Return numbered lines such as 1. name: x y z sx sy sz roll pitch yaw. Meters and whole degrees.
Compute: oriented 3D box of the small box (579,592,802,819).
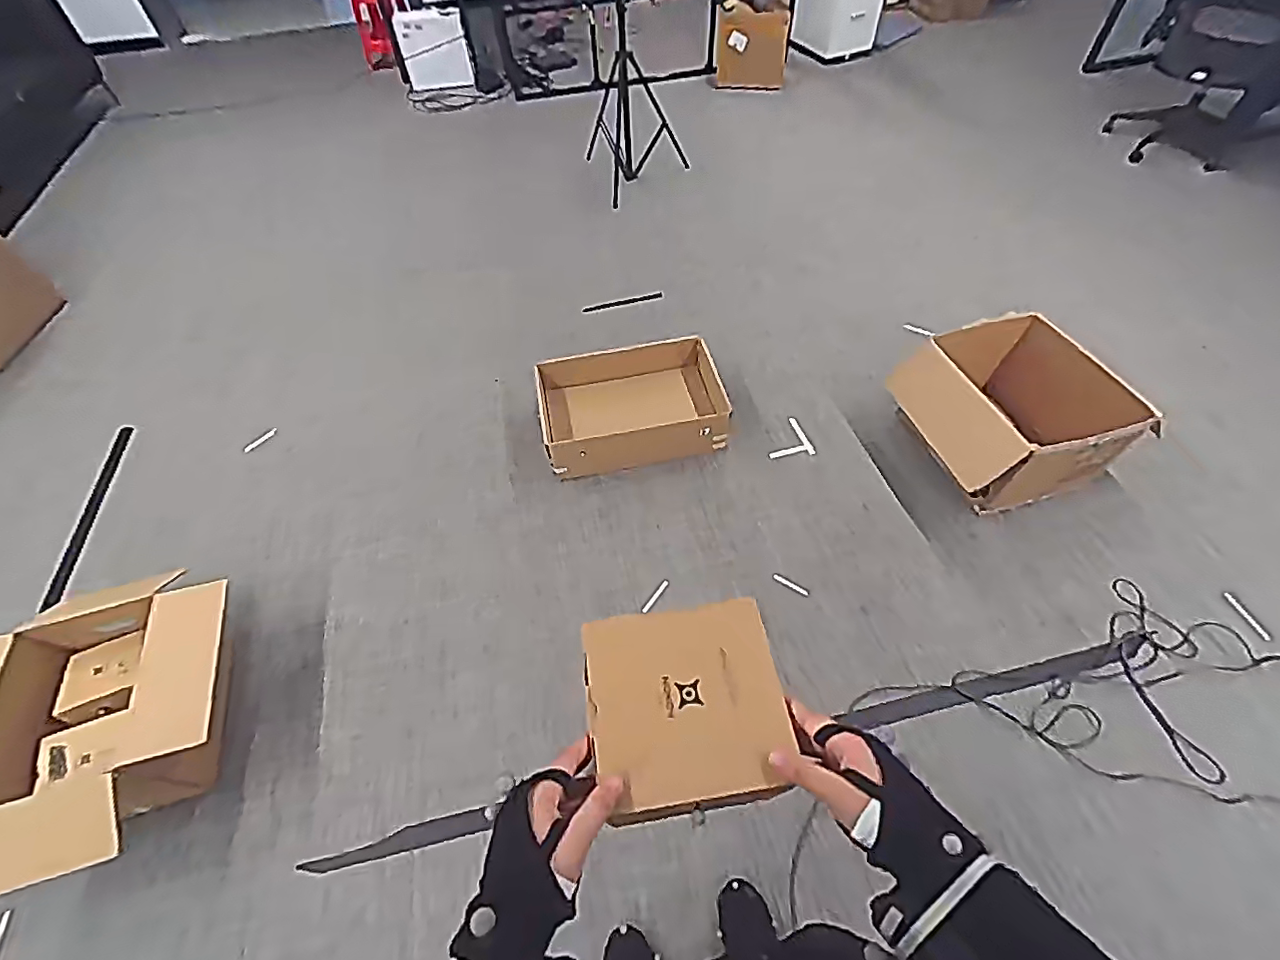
1. small box: 0.041 0.235 0.552 0.179 0.176 0.168 -8 56 -5
